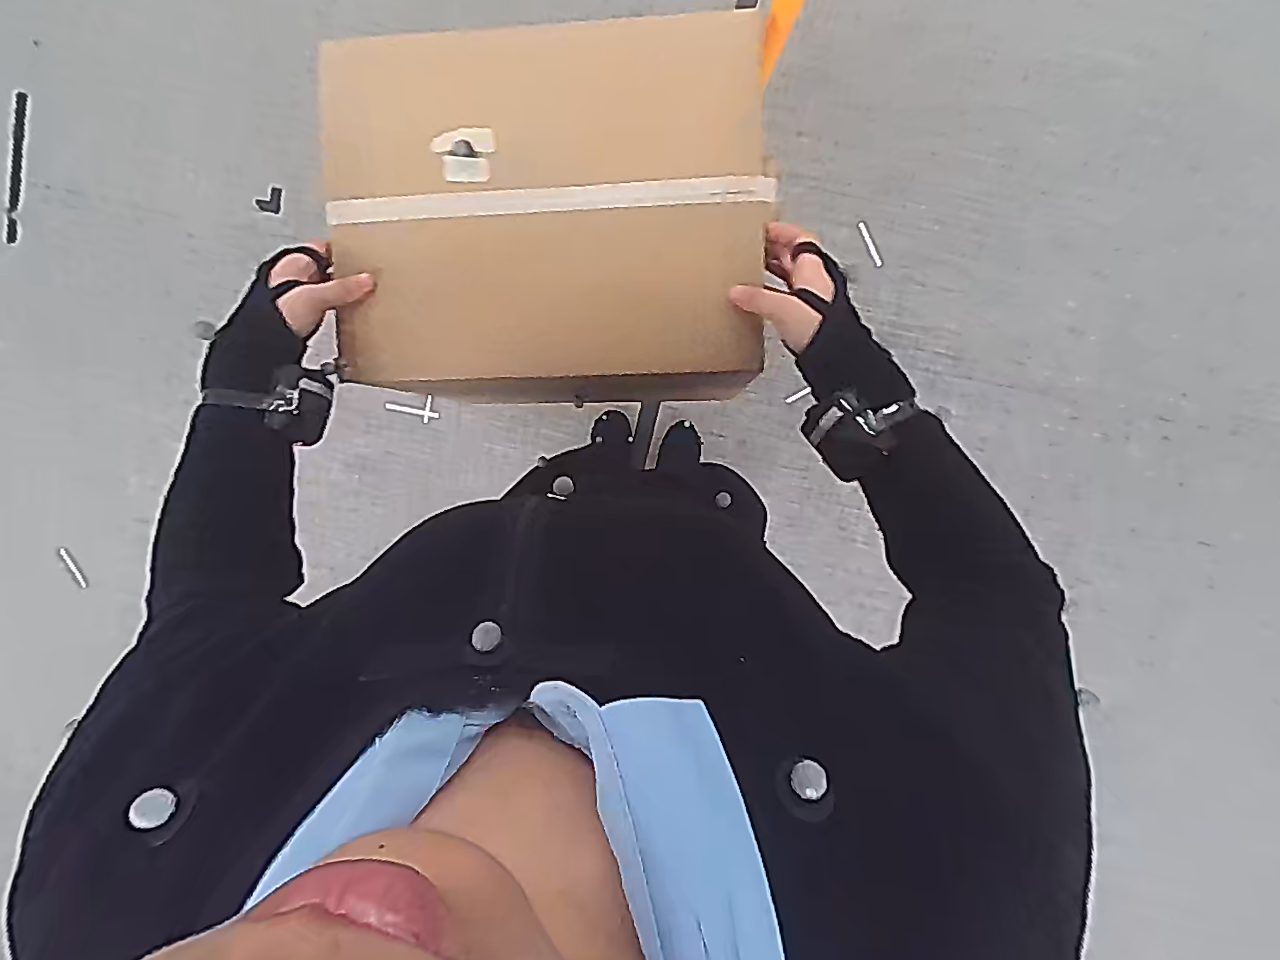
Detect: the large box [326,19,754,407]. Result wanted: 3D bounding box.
[{"bbox_3d":[-0.083,-0.260,0.655,0.408,0.320,0.320,-2,92,5],"label":"large box"}]
